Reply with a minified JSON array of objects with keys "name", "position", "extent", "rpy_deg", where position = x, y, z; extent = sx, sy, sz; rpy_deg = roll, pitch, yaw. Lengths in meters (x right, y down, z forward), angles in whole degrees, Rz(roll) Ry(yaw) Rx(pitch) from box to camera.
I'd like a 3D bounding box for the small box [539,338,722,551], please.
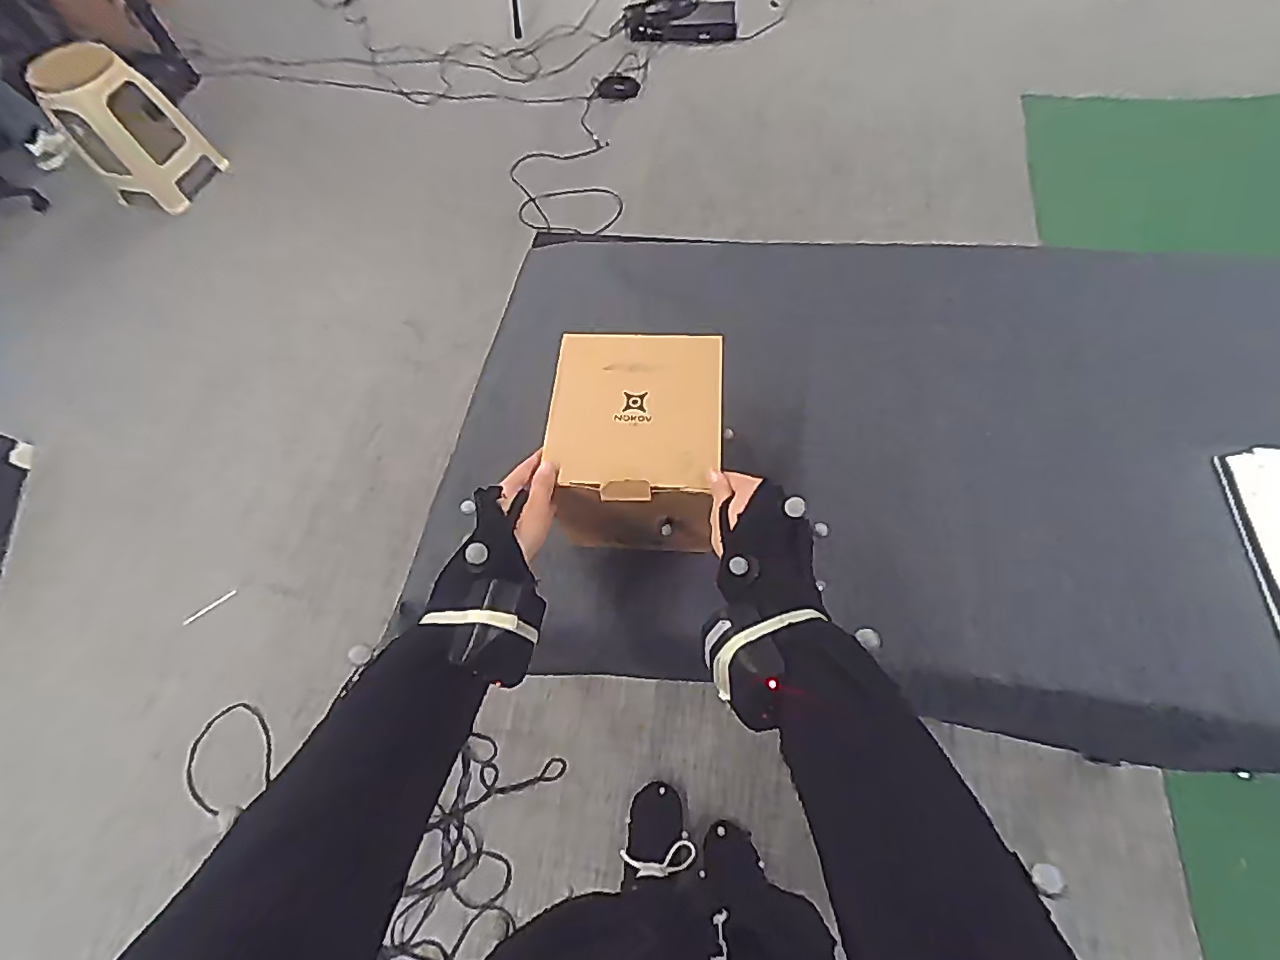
[{"name":"small box","position":[0.001,-0.031,0.587],"extent":[0.168,0.176,0.179],"rpy_deg":[2,62,5]}]
